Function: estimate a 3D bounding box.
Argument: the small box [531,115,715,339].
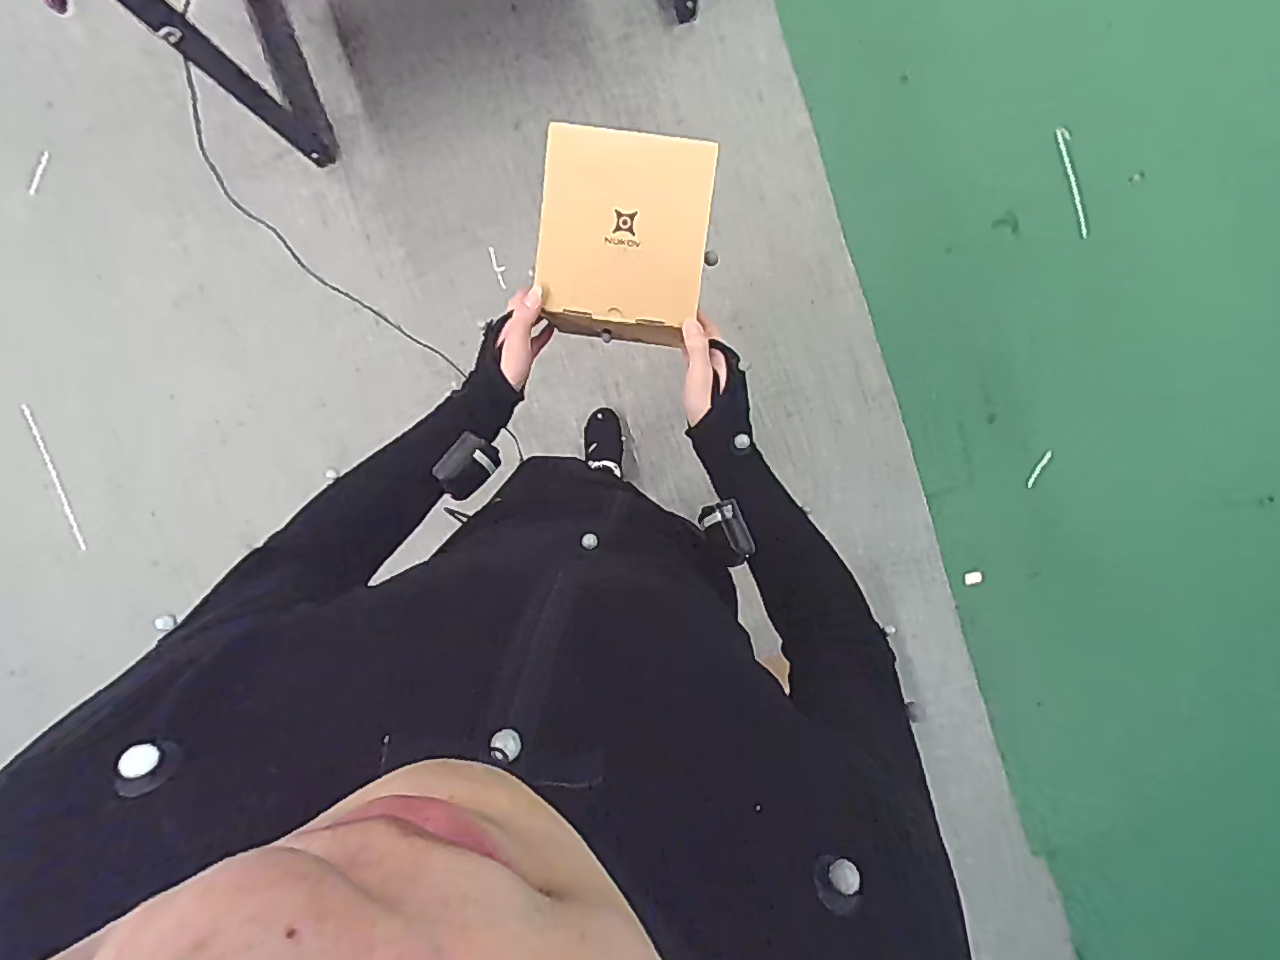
[{"bbox_3d":[-0.020,-0.264,0.605,0.168,0.176,0.179,6,99,-2],"label":"small box"}]
